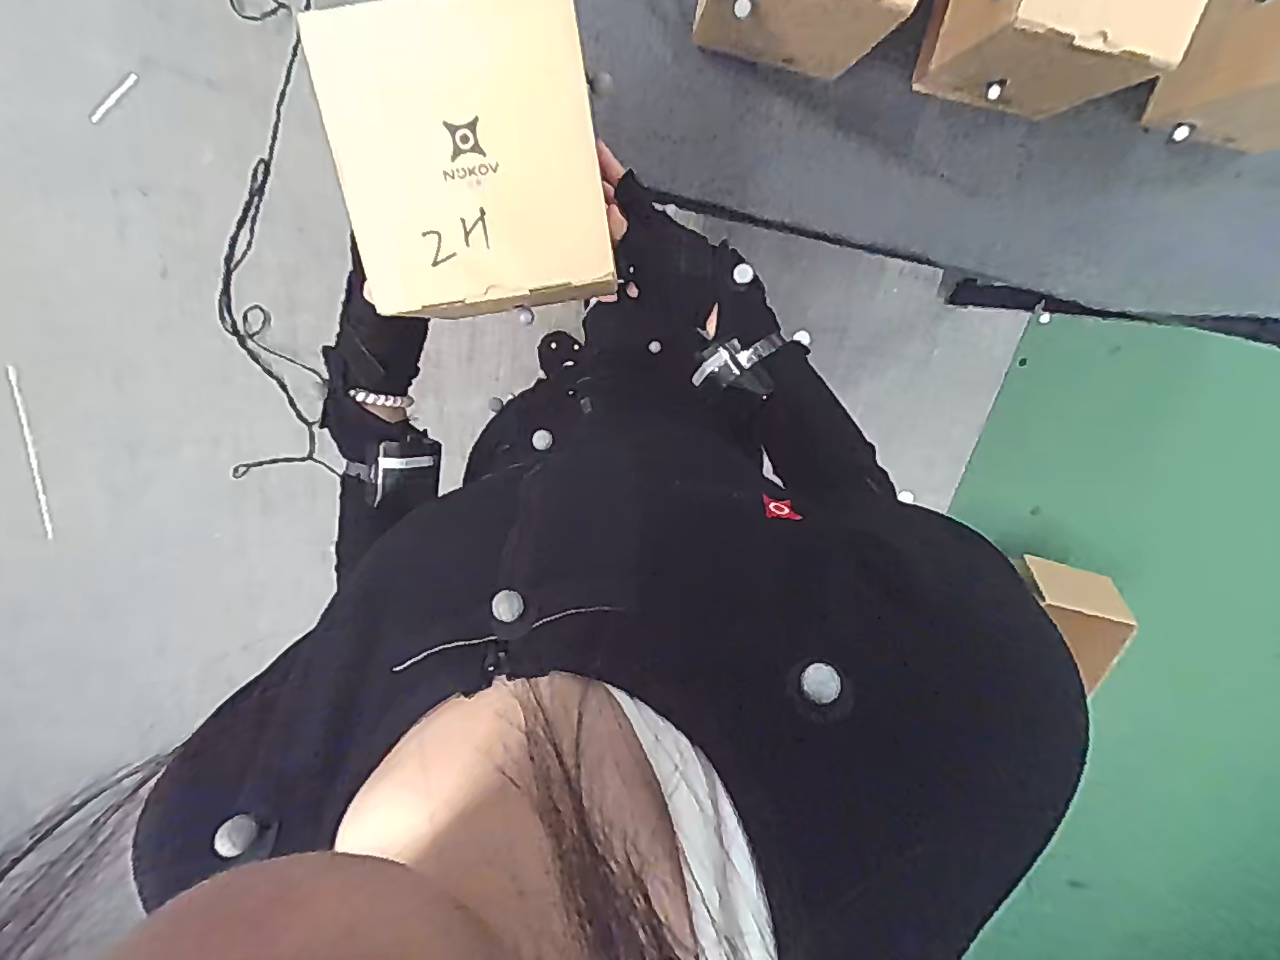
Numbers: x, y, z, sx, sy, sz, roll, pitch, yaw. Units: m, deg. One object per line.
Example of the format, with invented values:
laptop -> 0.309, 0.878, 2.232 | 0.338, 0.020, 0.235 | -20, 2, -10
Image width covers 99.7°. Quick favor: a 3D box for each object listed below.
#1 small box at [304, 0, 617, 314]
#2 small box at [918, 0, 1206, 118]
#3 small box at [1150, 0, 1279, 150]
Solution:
small box -> -0.112, -0.231, 0.418 | 0.168, 0.176, 0.179 | -9, 105, 0
small box -> 0.403, -0.482, 0.515 | 0.168, 0.176, 0.179 | 8, 110, -8
small box -> 0.683, -0.456, 0.543 | 0.168, 0.176, 0.179 | 8, 109, -7
